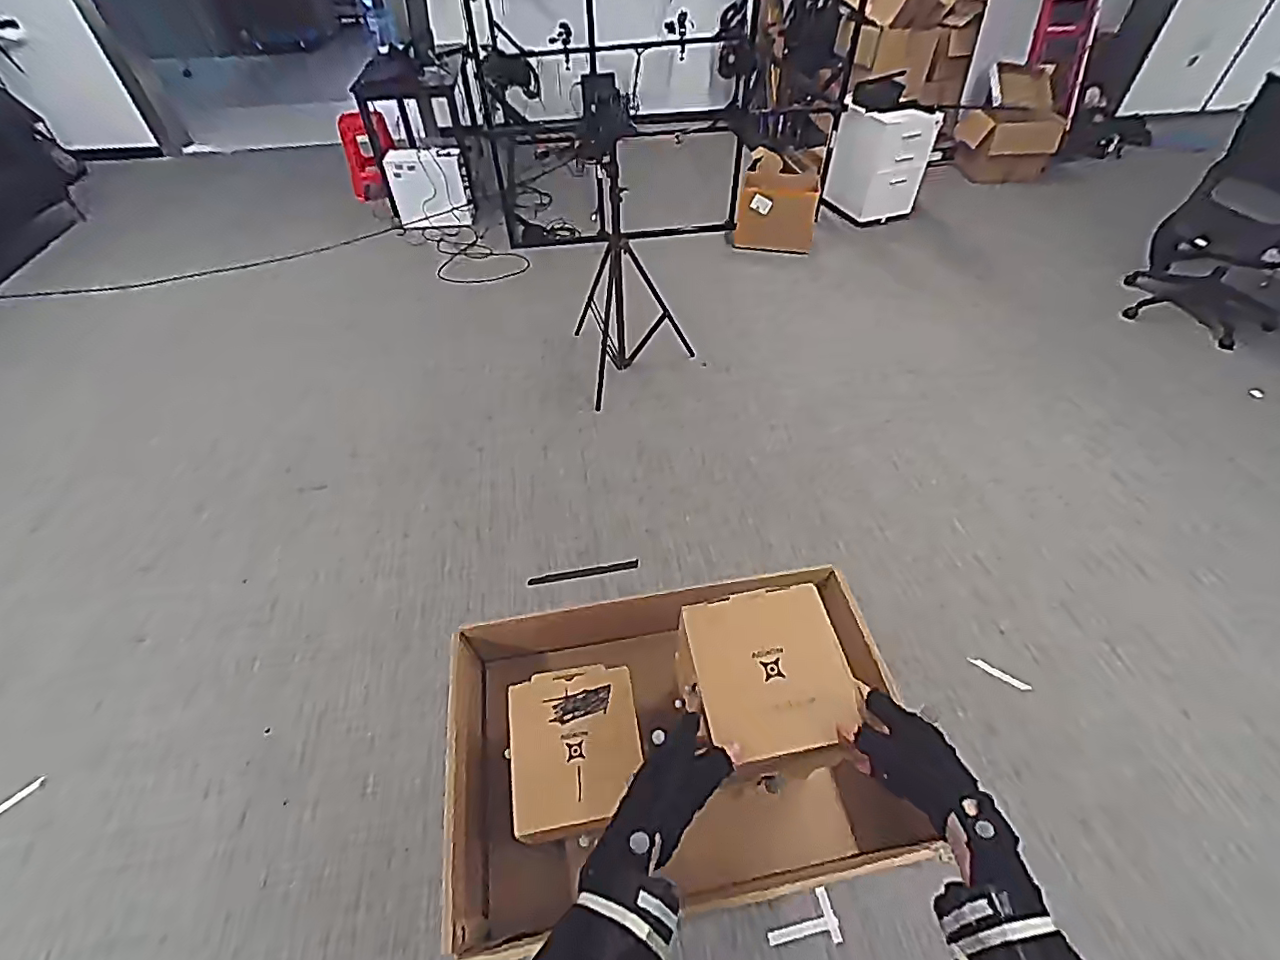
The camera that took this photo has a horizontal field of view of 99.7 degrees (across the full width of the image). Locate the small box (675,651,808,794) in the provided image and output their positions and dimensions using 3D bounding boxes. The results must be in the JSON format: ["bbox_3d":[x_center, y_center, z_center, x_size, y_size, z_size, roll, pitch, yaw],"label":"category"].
[{"bbox_3d":[0.153,0.341,0.788,0.179,0.176,0.168,-9,52,-5],"label":"small box"}]

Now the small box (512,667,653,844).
[{"bbox_3d":[-0.082,0.384,0.751,0.168,0.176,0.179,-8,54,-7],"label":"small box"}]

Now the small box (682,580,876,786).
[{"bbox_3d":[0.148,0.248,0.655,0.168,0.176,0.179,-11,54,-4],"label":"small box"}]
